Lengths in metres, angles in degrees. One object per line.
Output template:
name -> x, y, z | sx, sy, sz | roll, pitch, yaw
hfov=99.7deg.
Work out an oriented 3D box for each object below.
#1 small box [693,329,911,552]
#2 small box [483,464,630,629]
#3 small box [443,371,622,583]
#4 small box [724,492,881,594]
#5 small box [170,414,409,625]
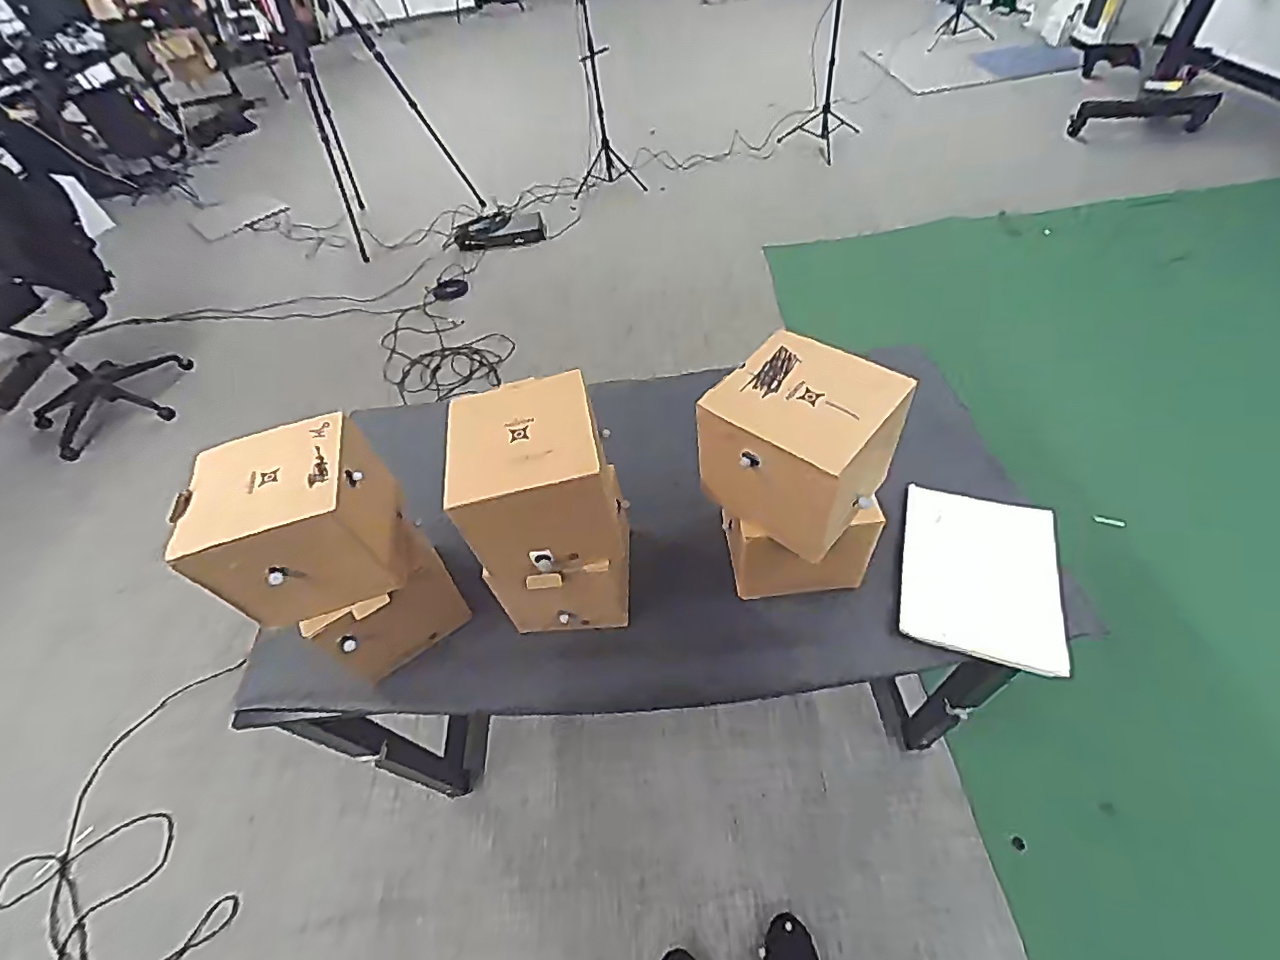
small box -> 0.183, -0.045, 0.648 | 0.179, 0.176, 0.168 | 33, 64, 30
small box -> -0.109, 0.100, 0.793 | 0.168, 0.176, 0.179 | -5, 50, 6
small box -> -0.126, -0.001, 0.667 | 0.168, 0.176, 0.179 | -14, 51, -1
small box -> 0.218, 0.048, 0.780 | 0.179, 0.176, 0.168 | -8, 50, 4
small box -> -0.410, 0.054, 0.670 | 0.179, 0.176, 0.168 | -19, 51, -5
